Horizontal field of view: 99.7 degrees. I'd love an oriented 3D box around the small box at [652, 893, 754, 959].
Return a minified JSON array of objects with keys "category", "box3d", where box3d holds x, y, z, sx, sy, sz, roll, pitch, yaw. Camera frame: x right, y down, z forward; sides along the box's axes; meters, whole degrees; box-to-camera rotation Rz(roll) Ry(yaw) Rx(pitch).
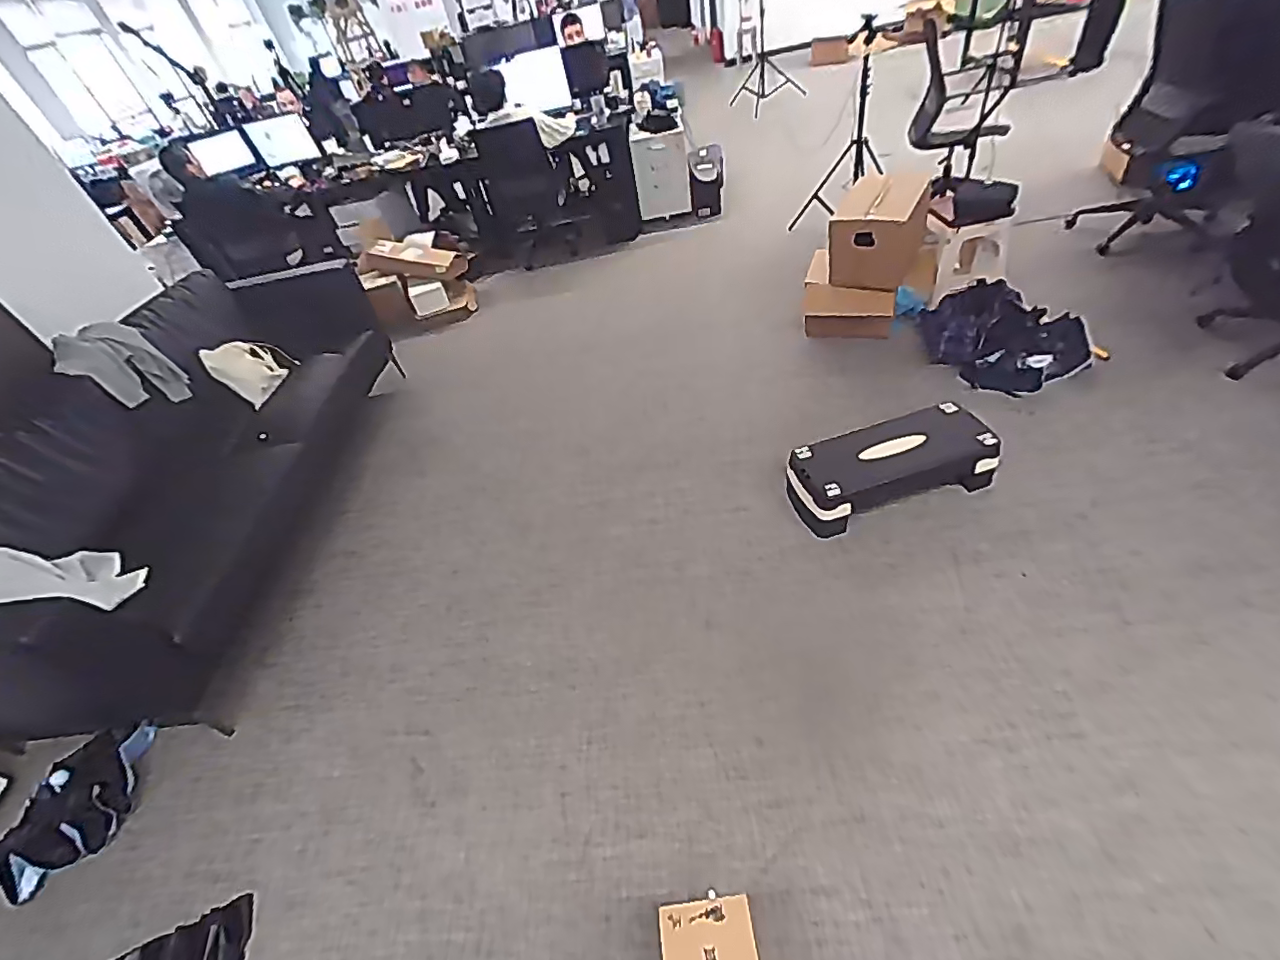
[{"category":"small box","box3d":[0.123,0.884,0.987,0.168,0.176,0.179,-11,44,4]}]
